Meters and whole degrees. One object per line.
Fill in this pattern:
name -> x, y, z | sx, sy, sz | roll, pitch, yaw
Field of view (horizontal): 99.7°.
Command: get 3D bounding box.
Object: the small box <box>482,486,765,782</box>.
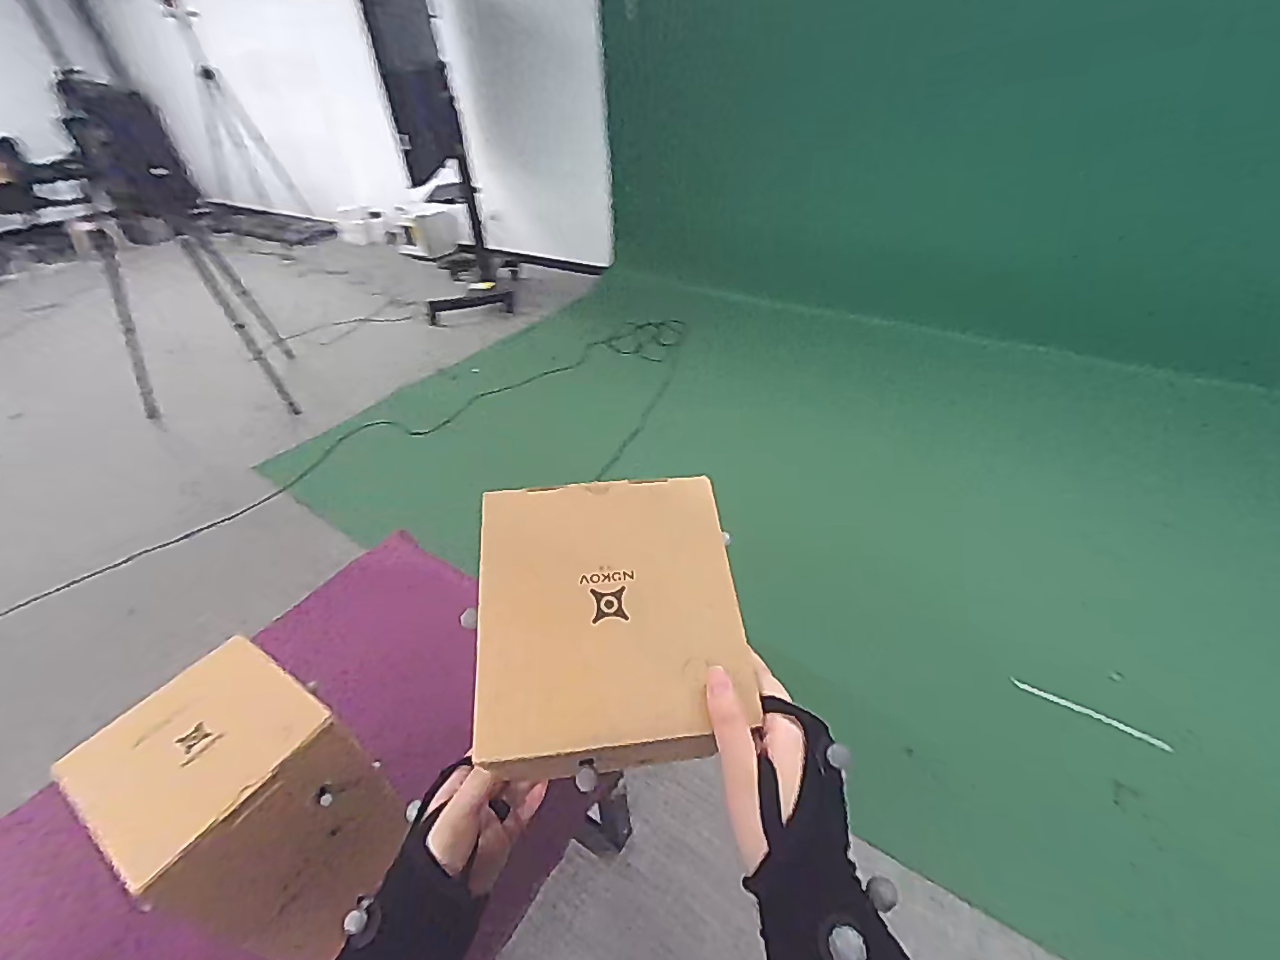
small box -> -0.018, 0.125, 0.416 | 0.168, 0.176, 0.179 | -4, 57, -6

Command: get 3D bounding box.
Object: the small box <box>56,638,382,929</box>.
small box -> -0.397, 0.301, 0.541 | 0.179, 0.176, 0.168 | 21, 44, 26
